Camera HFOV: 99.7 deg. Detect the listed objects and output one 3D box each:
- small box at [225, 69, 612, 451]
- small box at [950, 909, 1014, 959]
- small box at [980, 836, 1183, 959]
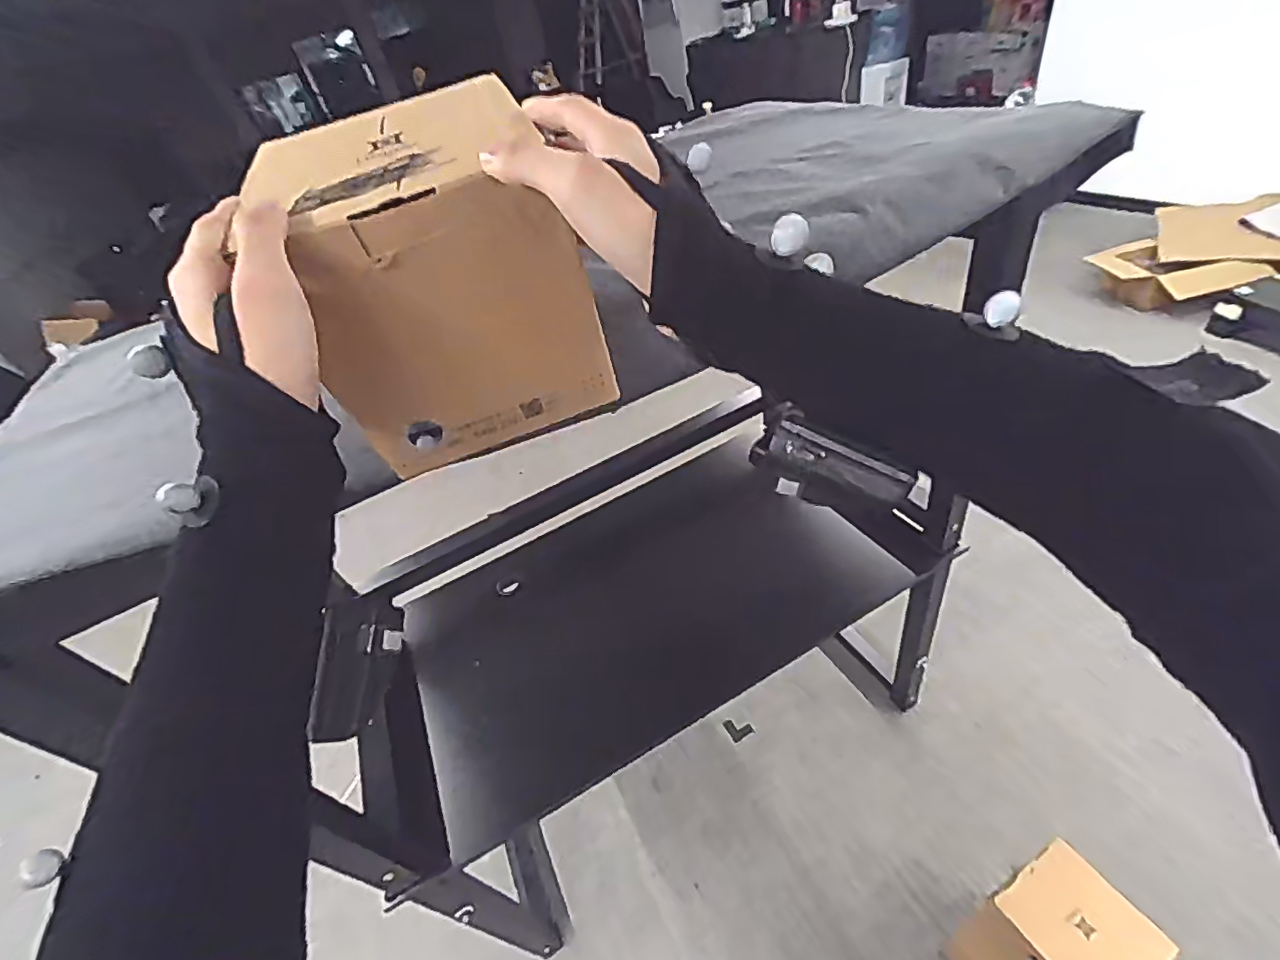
[{"bbox_3d":[-0.131,-0.142,0.373,0.168,0.176,0.179,-22,49,-4],"label":"small box"},{"bbox_3d":[0.763,0.964,1.095,0.179,0.176,0.168,-29,42,-13],"label":"small box"},{"bbox_3d":[0.697,0.730,0.876,0.168,0.176,0.179,-30,43,-14],"label":"small box"}]
